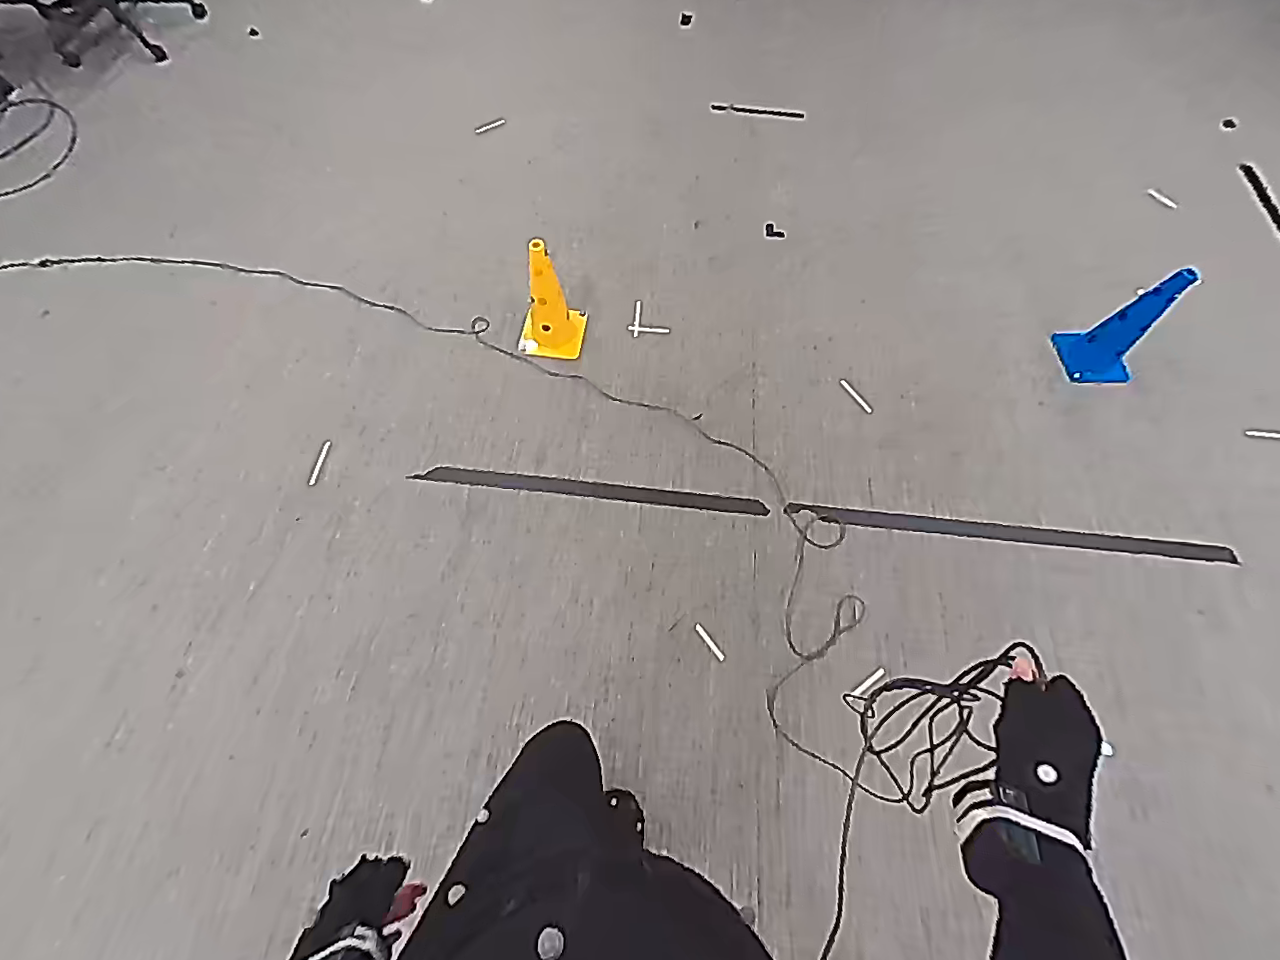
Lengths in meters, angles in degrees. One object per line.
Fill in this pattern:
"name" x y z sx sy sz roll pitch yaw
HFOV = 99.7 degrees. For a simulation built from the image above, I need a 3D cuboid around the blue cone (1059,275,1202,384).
"blue cone" 1.482 -0.465 1.615 0.193 0.380 0.192 1 65 -1
